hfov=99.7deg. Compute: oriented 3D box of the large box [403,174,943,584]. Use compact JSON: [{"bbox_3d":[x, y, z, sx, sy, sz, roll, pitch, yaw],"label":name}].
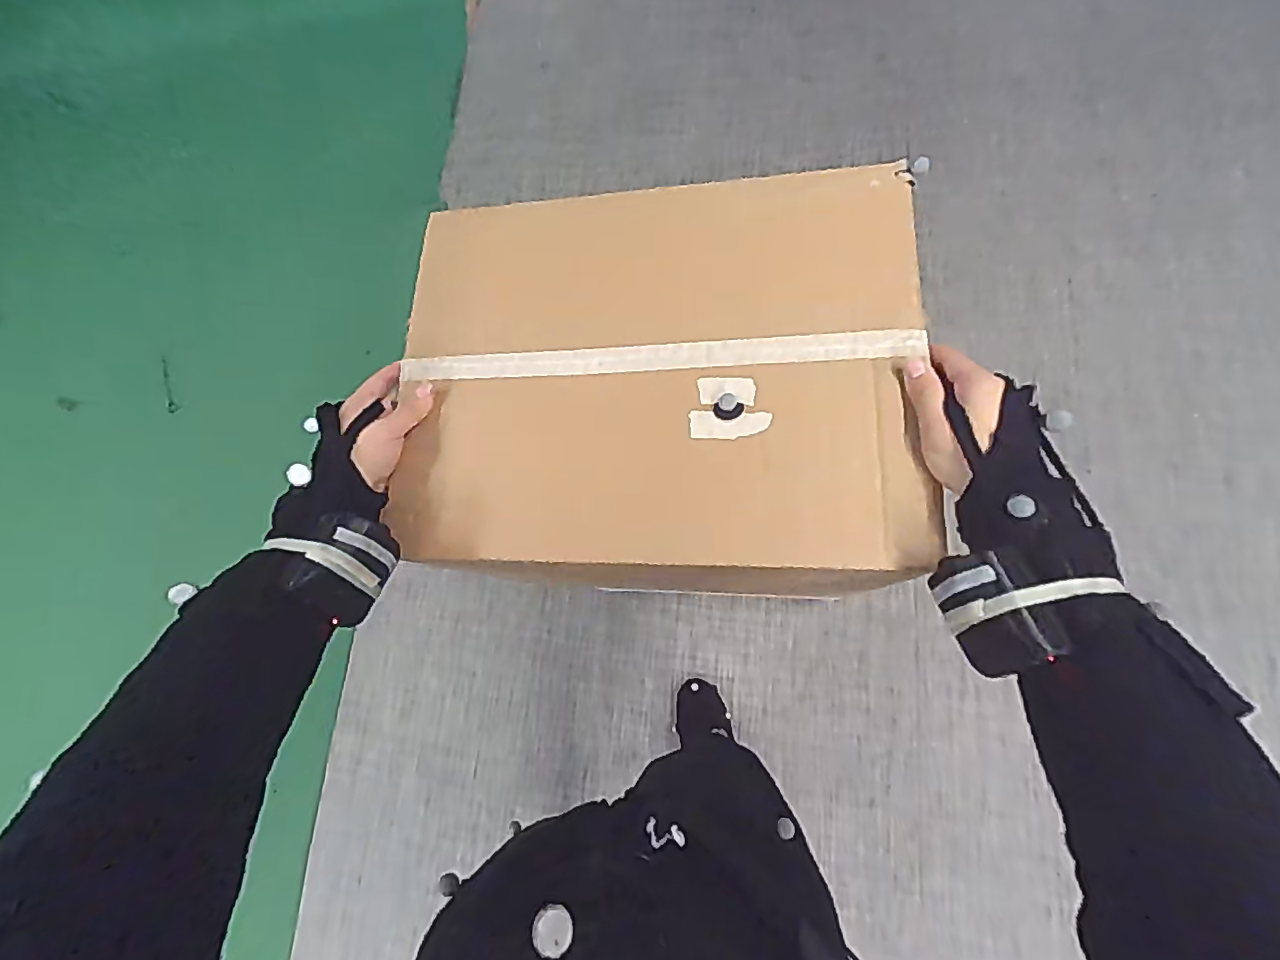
[{"bbox_3d":[0.034,-0.058,0.571,0.408,0.320,0.320,0,76,10],"label":"large box"}]
